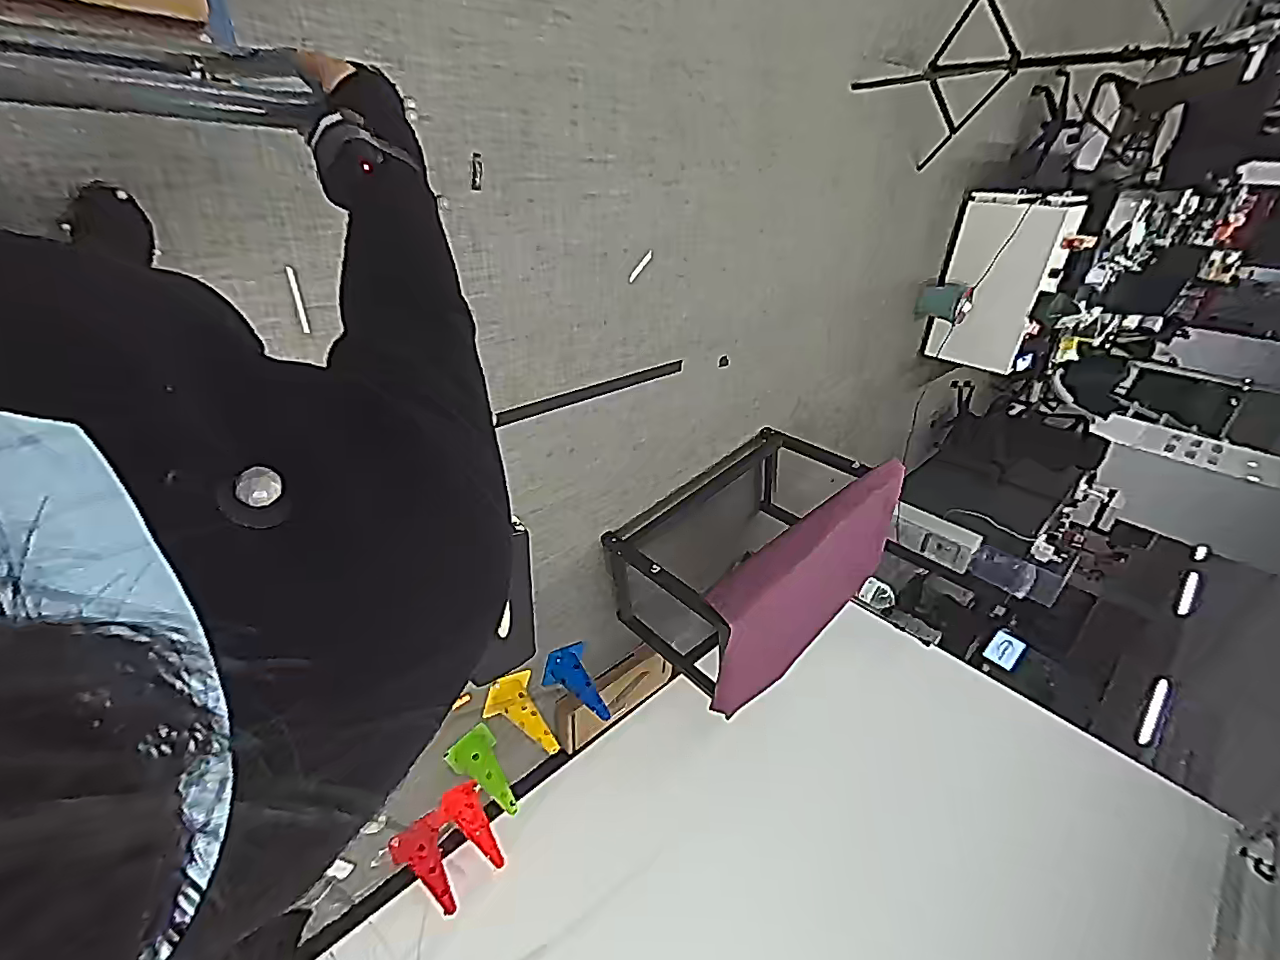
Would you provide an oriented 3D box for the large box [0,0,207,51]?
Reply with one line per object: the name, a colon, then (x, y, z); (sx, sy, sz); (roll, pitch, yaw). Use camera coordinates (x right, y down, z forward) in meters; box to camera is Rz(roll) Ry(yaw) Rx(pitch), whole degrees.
large box: (-0.786, -0.703, 0.582); (0.408, 0.320, 0.320); (-22, 129, -39)
